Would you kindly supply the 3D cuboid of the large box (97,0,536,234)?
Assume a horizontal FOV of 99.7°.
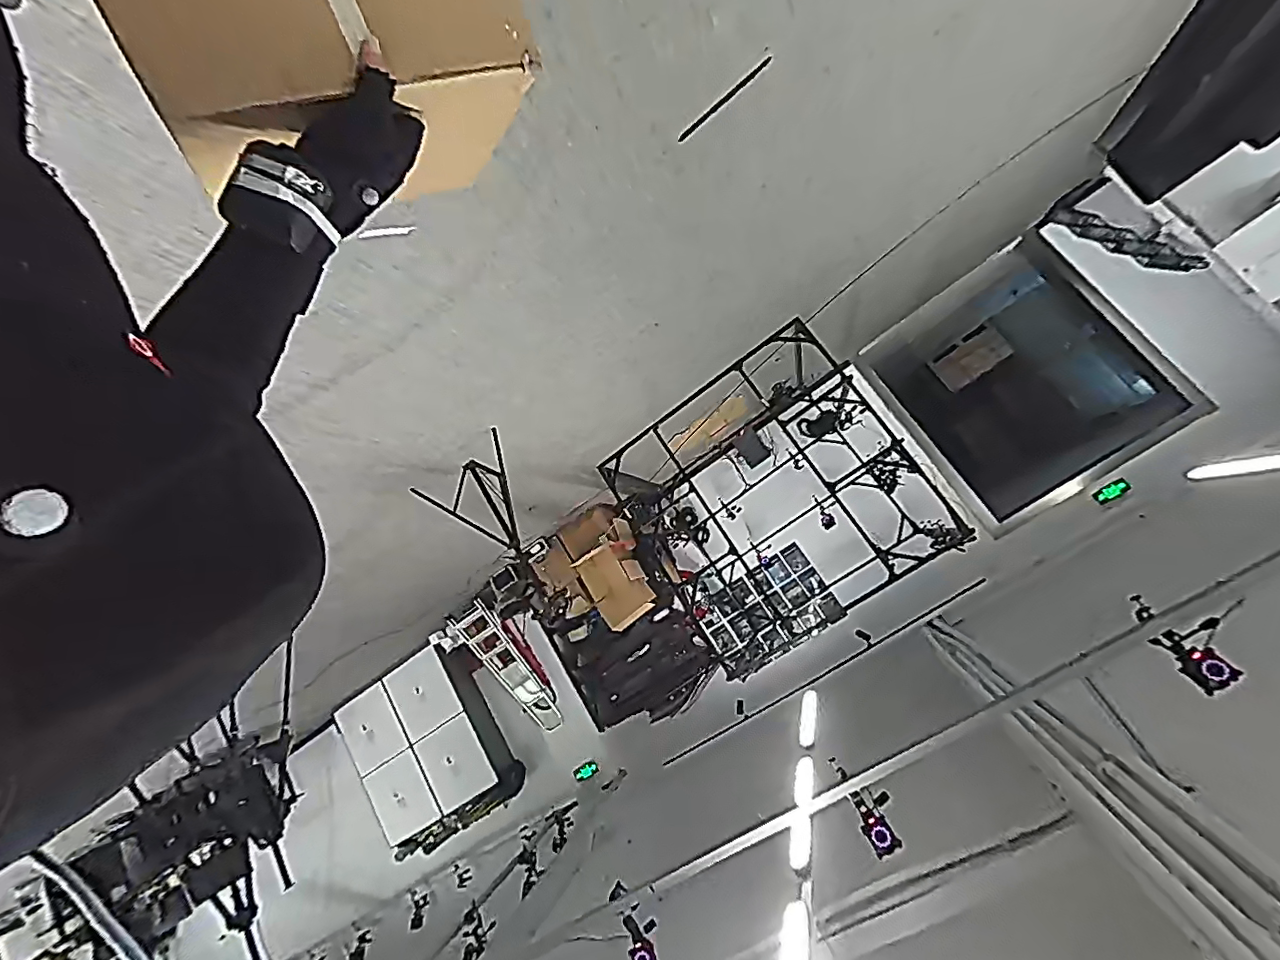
[{"bbox_3d":[-0.363,-0.519,0.527,0.320,0.408,0.320,-29,-160,-23],"label":"large box"}]
